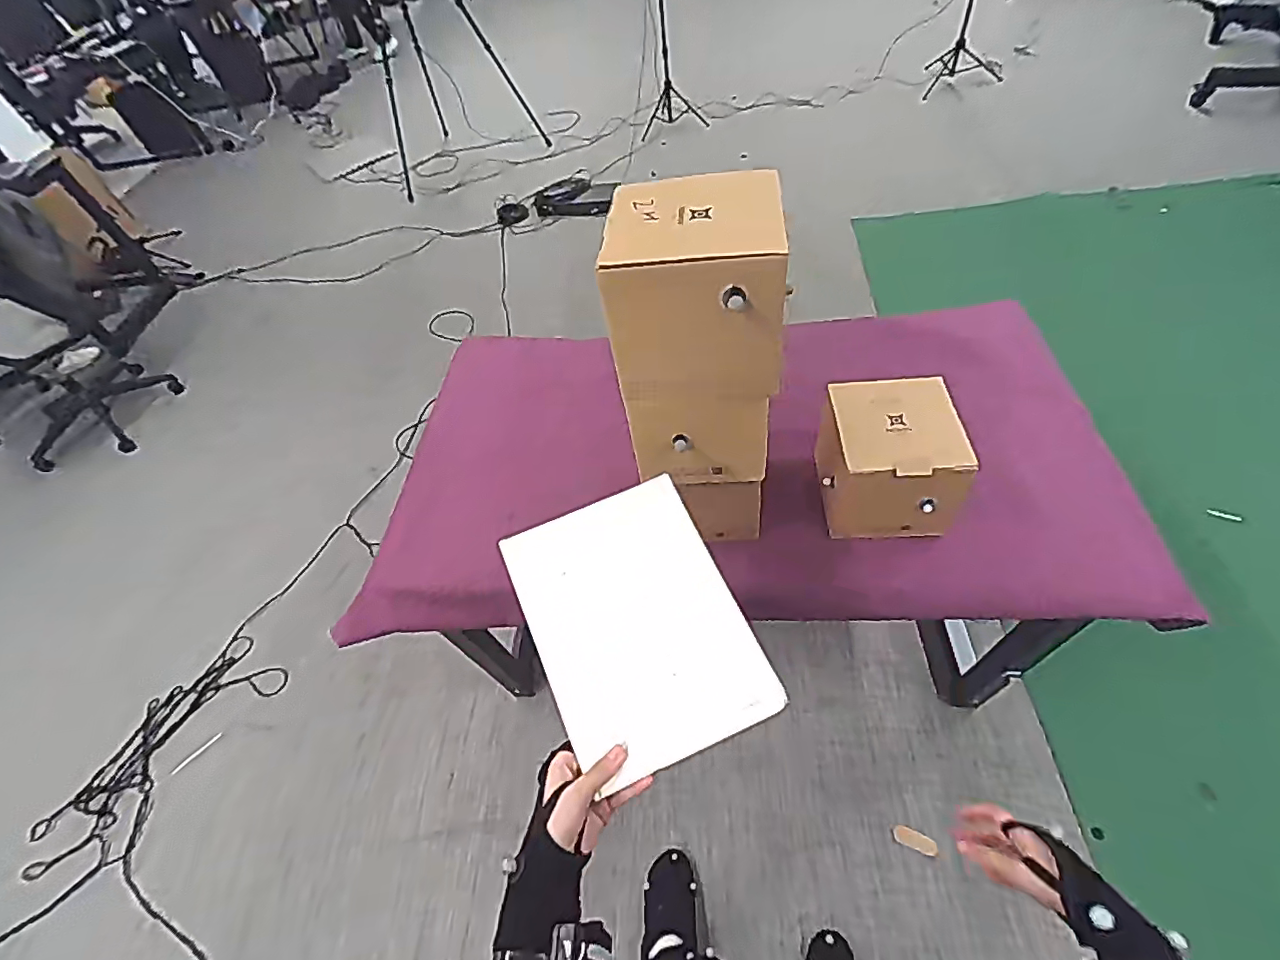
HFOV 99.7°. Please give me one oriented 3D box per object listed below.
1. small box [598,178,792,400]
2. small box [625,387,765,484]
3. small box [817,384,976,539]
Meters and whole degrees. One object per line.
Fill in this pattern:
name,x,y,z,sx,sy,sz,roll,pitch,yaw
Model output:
small box,0.065,-0.202,0.594,0.179,0.176,0.168,0,51,10
small box,0.080,-0.105,0.727,0.168,0.176,0.179,-2,51,9
small box,0.371,-0.021,0.820,0.168,0.176,0.179,-2,51,8
